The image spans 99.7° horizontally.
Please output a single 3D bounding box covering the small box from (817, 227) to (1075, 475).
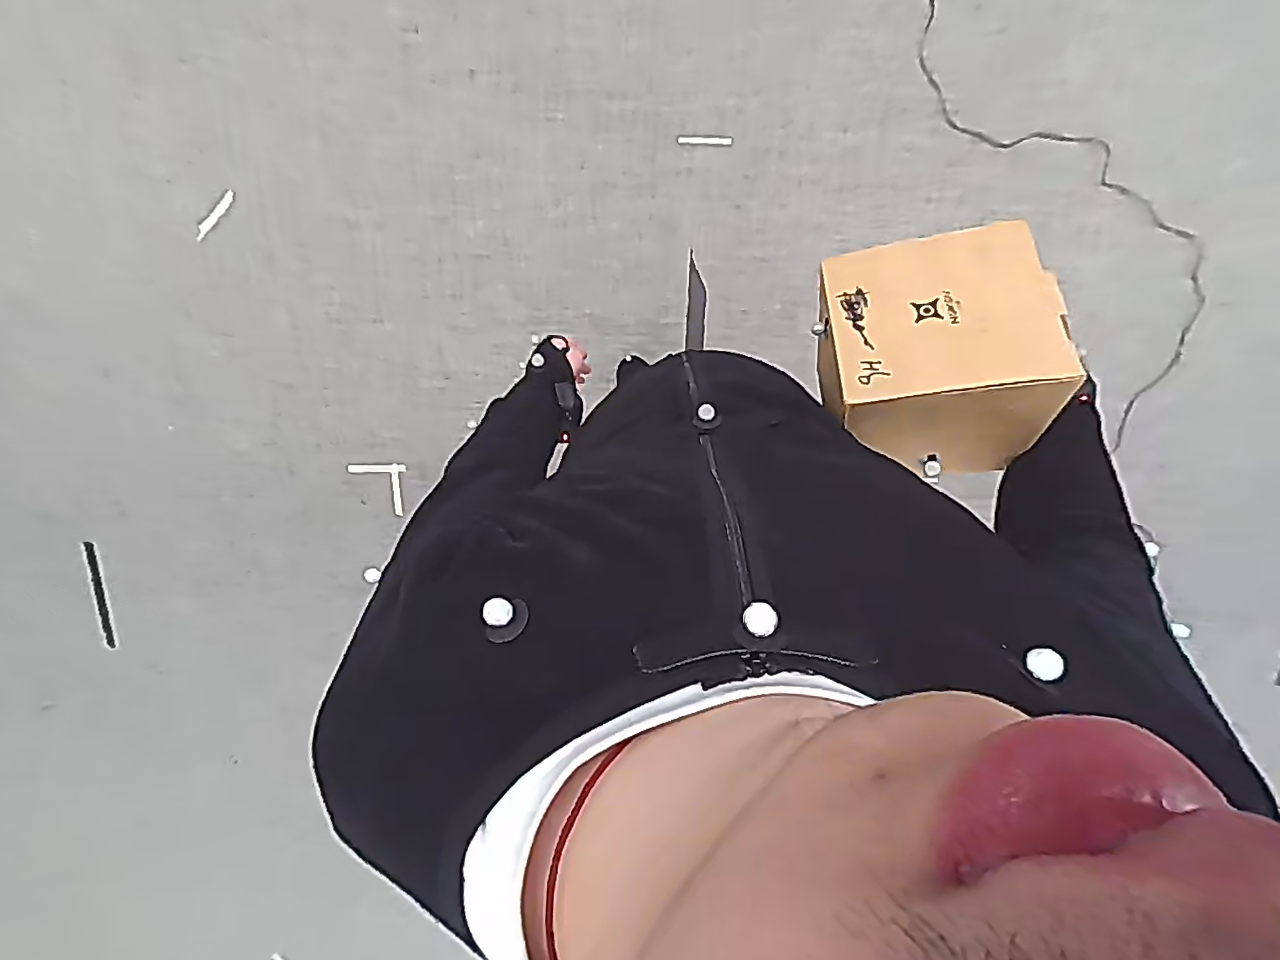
[{"bbox_3d":[0.280,-0.116,0.546,0.179,0.176,0.168,-5,64,14],"label":"small box"}]
